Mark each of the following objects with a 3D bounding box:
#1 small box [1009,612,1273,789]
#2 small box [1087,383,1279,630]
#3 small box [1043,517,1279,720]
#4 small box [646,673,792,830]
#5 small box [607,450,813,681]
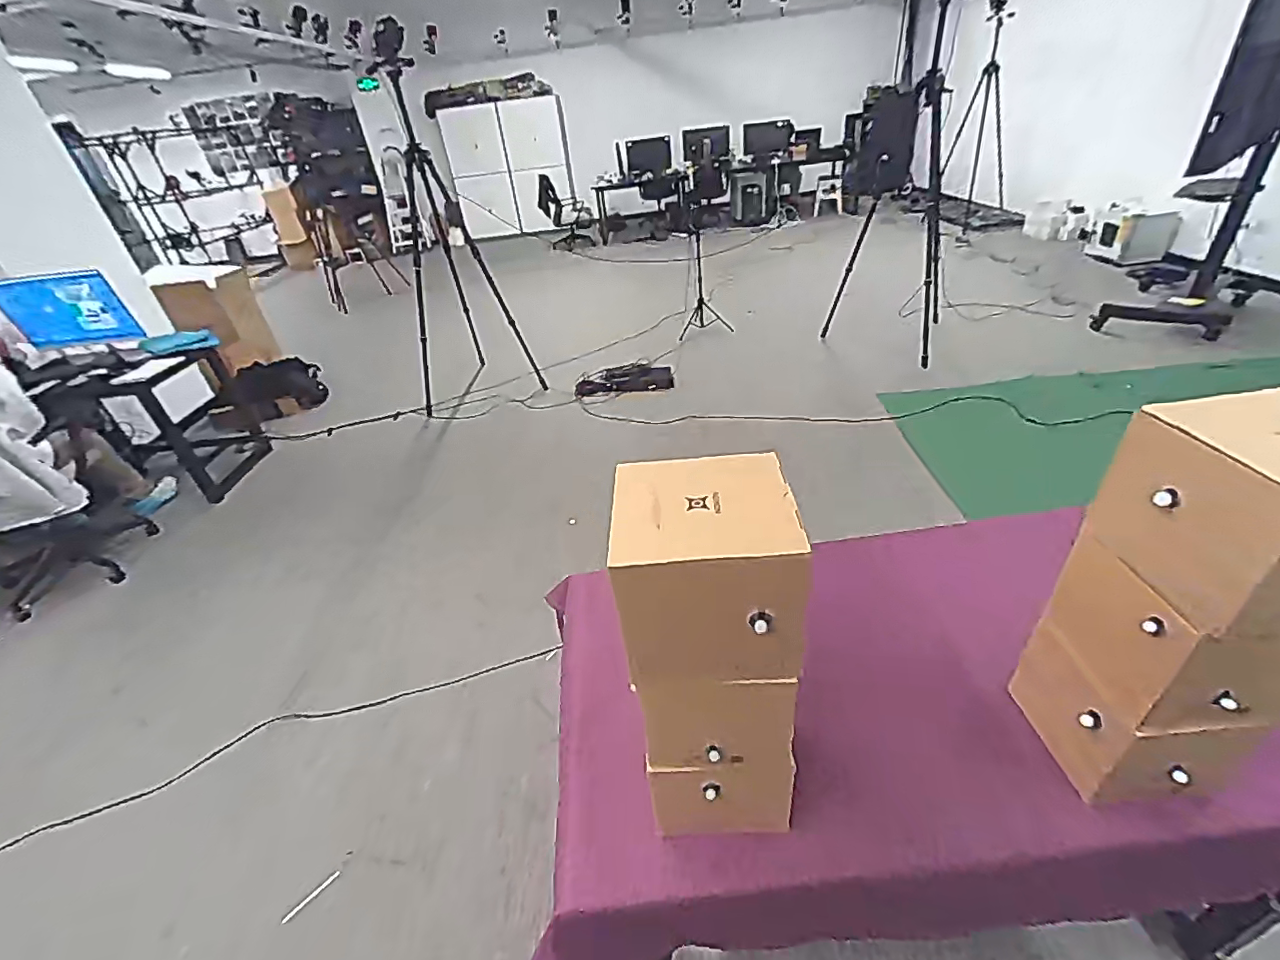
[{"bbox_3d":[0.647,0.292,0.730,0.168,0.176,0.179,-7,34,1],"label":"small box"},{"bbox_3d":[0.614,0.022,0.547,0.168,0.176,0.179,-9,34,-1],"label":"small box"},{"bbox_3d":[0.633,0.155,0.643,0.168,0.176,0.179,-7,36,2],"label":"small box"},{"bbox_3d":[0.104,0.358,0.746,0.179,0.176,0.168,-5,35,3],"label":"small box"},{"bbox_3d":[0.068,0.088,0.563,0.179,0.176,0.168,-5,34,5],"label":"small box"}]
